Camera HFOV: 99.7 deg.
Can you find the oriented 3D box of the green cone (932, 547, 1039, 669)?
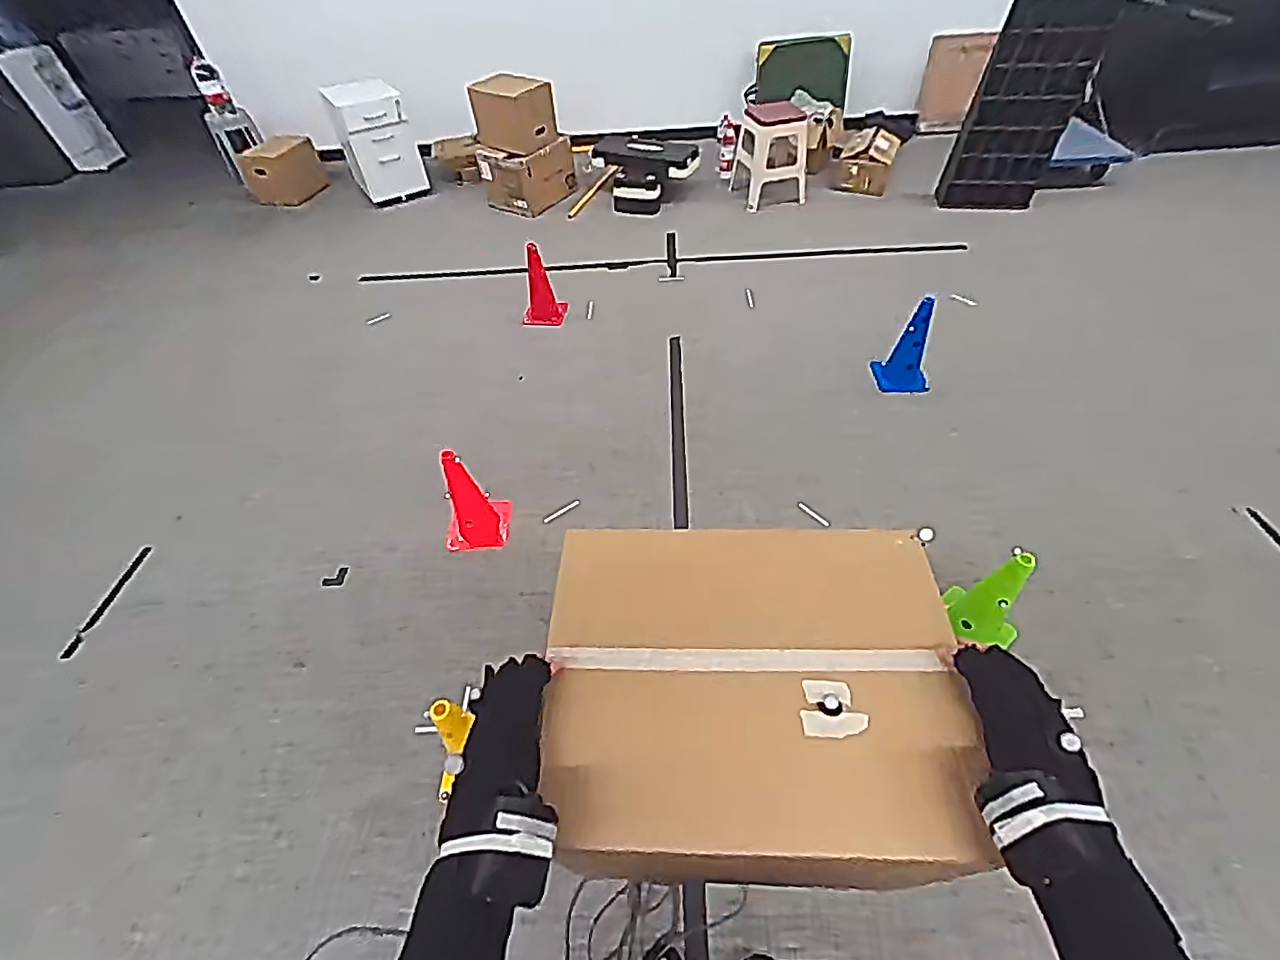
[{"bbox_3d":[0.916,0.296,1.395,0.202,0.368,0.200,-31,54,-22],"label":"green cone"}]

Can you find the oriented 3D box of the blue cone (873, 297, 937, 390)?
[{"bbox_3d":[1.077,-0.545,2.135,0.192,0.380,0.193,1,49,4],"label":"blue cone"}]

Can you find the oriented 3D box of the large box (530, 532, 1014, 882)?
[{"bbox_3d":[0.112,0.276,0.648,0.408,0.320,0.320,0,50,3],"label":"large box"}]

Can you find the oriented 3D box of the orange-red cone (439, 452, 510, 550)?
[{"bbox_3d":[-0.563,0.045,1.731,0.198,0.360,0.199,-4,50,2],"label":"orange-red cone"}]

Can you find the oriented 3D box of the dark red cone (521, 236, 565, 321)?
[{"bbox_3d":[-0.486,-0.953,2.560,0.201,0.394,0.202,3,50,6],"label":"dark red cone"}]
